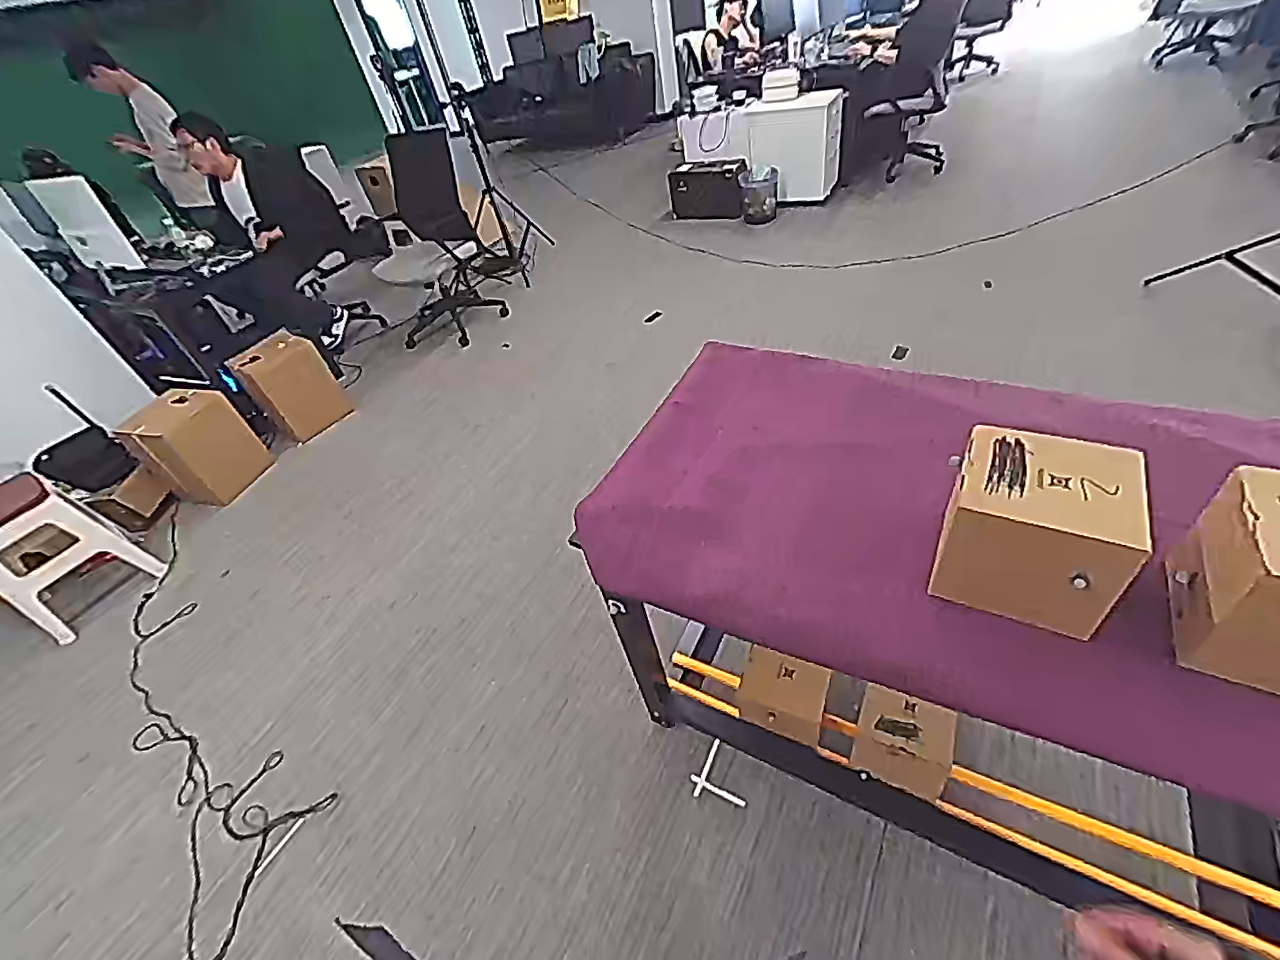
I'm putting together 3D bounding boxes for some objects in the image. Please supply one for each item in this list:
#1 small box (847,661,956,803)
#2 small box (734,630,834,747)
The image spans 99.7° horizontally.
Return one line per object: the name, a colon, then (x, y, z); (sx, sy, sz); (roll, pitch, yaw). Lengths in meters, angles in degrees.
small box: (0.527, 0.512, 1.100); (0.168, 0.176, 0.179); (13, 42, 26)
small box: (0.321, 0.468, 1.205); (0.179, 0.176, 0.168); (11, 49, 25)
